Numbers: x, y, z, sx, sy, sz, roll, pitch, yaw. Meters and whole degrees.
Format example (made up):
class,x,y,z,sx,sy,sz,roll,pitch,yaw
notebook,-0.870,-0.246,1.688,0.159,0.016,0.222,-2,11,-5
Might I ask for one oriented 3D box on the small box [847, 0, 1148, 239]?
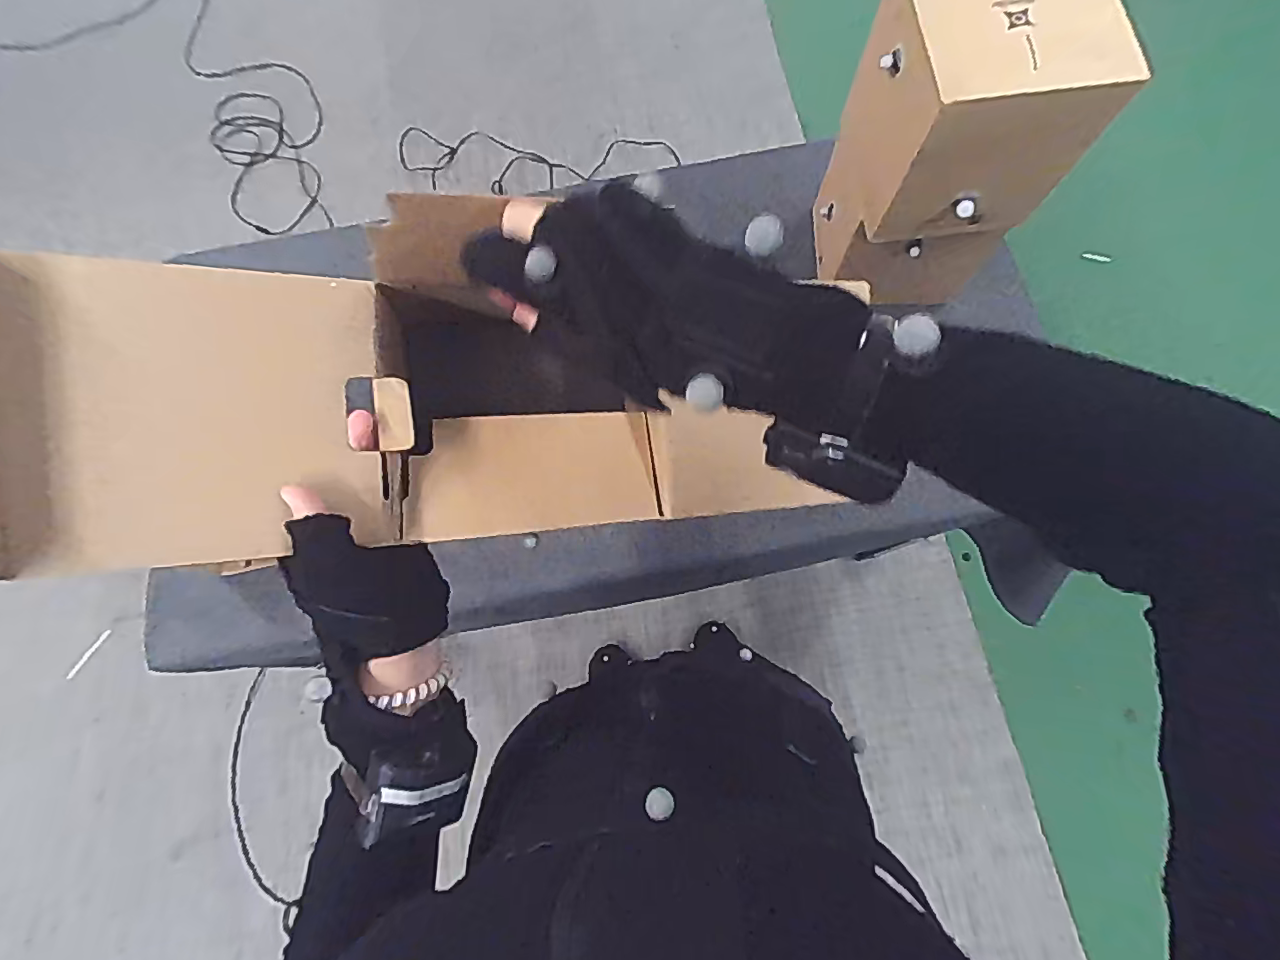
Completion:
class,x,y,z,sx,sy,sz,roll,pitch,yaw
small box,0.318,-0.370,0.528,0.168,0.176,0.179,-5,75,2

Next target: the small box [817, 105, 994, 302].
class,x,y,z,sx,sy,sz,roll,pitch,yaw
small box,0.333,-0.344,0.691,0.179,0.176,0.168,1,75,3
